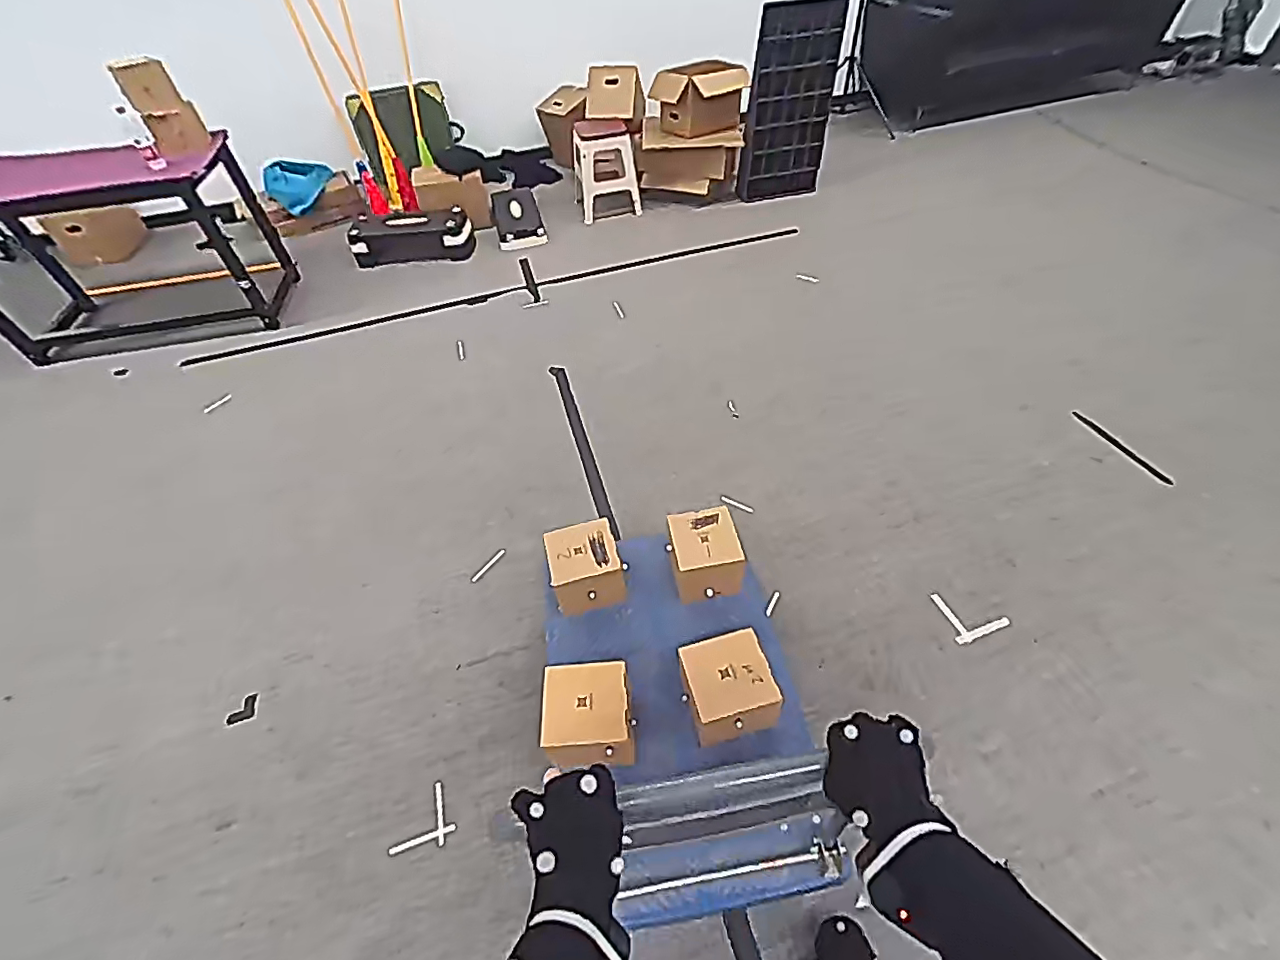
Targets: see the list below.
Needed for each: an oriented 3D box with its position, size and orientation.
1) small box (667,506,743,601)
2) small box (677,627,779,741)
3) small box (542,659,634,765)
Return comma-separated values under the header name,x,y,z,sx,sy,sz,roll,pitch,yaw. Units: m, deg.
name,x,y,z,sx,sy,sz,roll,pitch,yaw
small box,0.167,0.196,1.442,0.168,0.176,0.179,-10,50,-3
small box,0.192,0.459,1.207,0.179,0.176,0.168,-14,49,-6
small box,-0.109,0.514,1.189,0.179,0.176,0.168,-5,48,0
